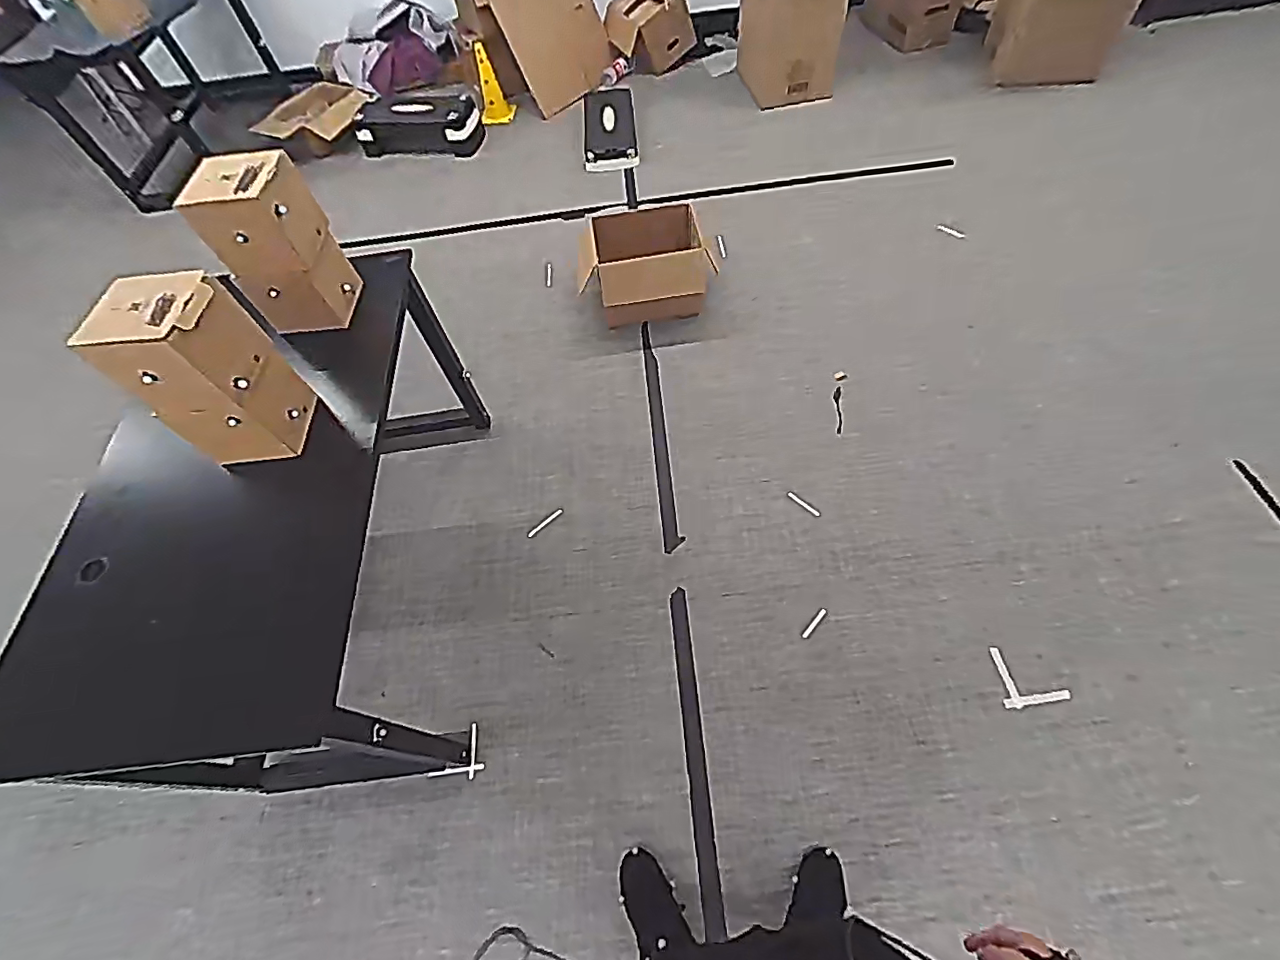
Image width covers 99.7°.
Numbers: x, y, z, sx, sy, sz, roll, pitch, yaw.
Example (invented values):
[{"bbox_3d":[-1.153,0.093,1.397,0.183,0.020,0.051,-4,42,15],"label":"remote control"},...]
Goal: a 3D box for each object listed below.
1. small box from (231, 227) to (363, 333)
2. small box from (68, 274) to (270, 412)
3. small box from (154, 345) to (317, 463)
[{"bbox_3d":[-0.798,-0.466,1.277,0.179,0.176,0.168,-3,60,4],"label":"small box"},{"bbox_3d":[-0.805,-0.234,0.950,0.179,0.176,0.168,-2,58,5],"label":"small box"},{"bbox_3d":[-0.799,-0.147,1.089,0.179,0.176,0.168,-7,59,1],"label":"small box"}]
